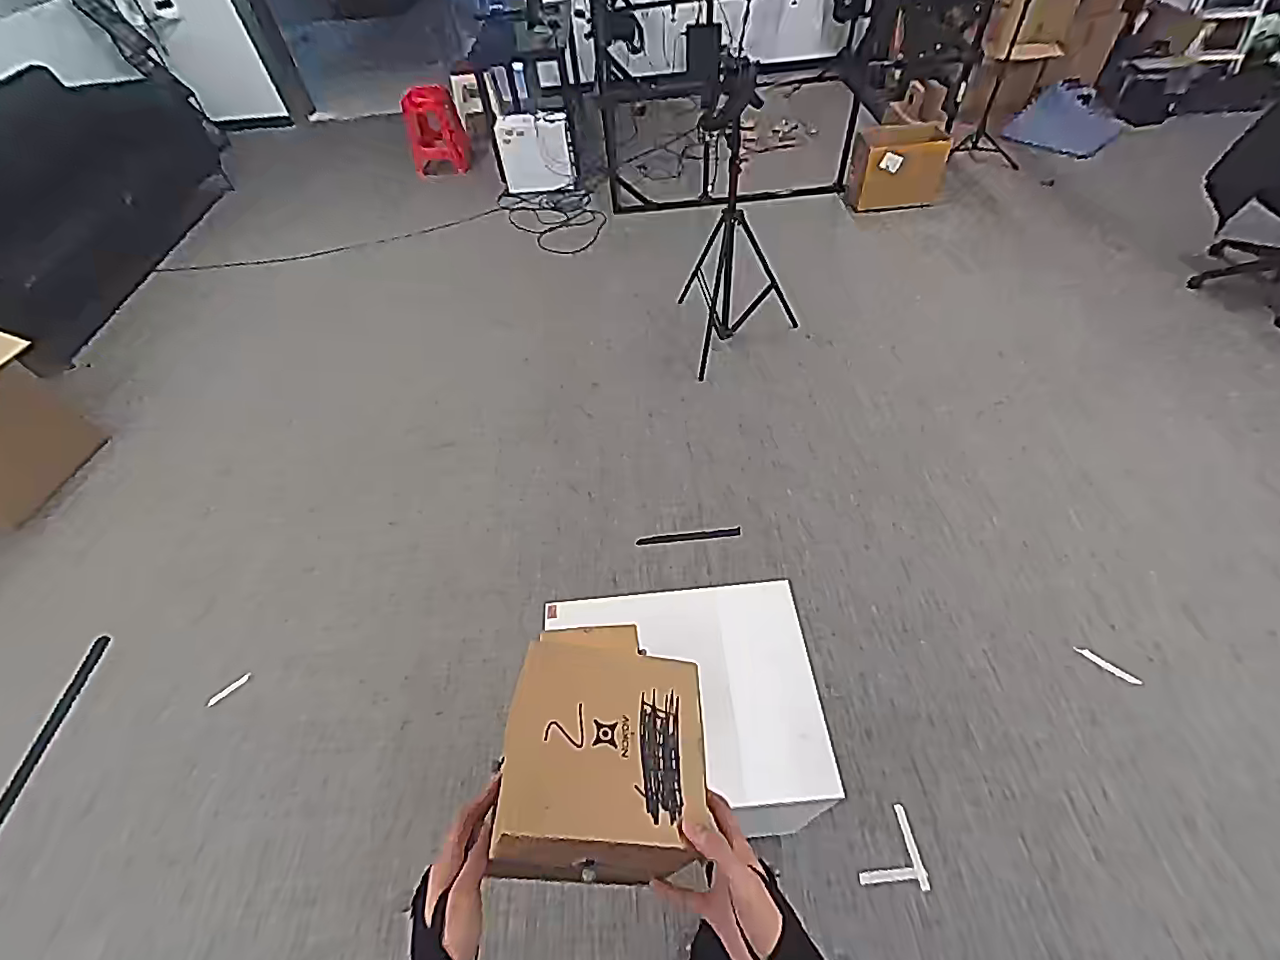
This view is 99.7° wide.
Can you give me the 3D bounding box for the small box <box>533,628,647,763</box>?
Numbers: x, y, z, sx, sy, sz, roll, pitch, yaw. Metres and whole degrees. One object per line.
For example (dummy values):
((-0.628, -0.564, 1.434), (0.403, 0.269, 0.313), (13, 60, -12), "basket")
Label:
((-0.078, 0.372, 0.922), (0.168, 0.176, 0.179), (-5, 51, 1), "small box")
